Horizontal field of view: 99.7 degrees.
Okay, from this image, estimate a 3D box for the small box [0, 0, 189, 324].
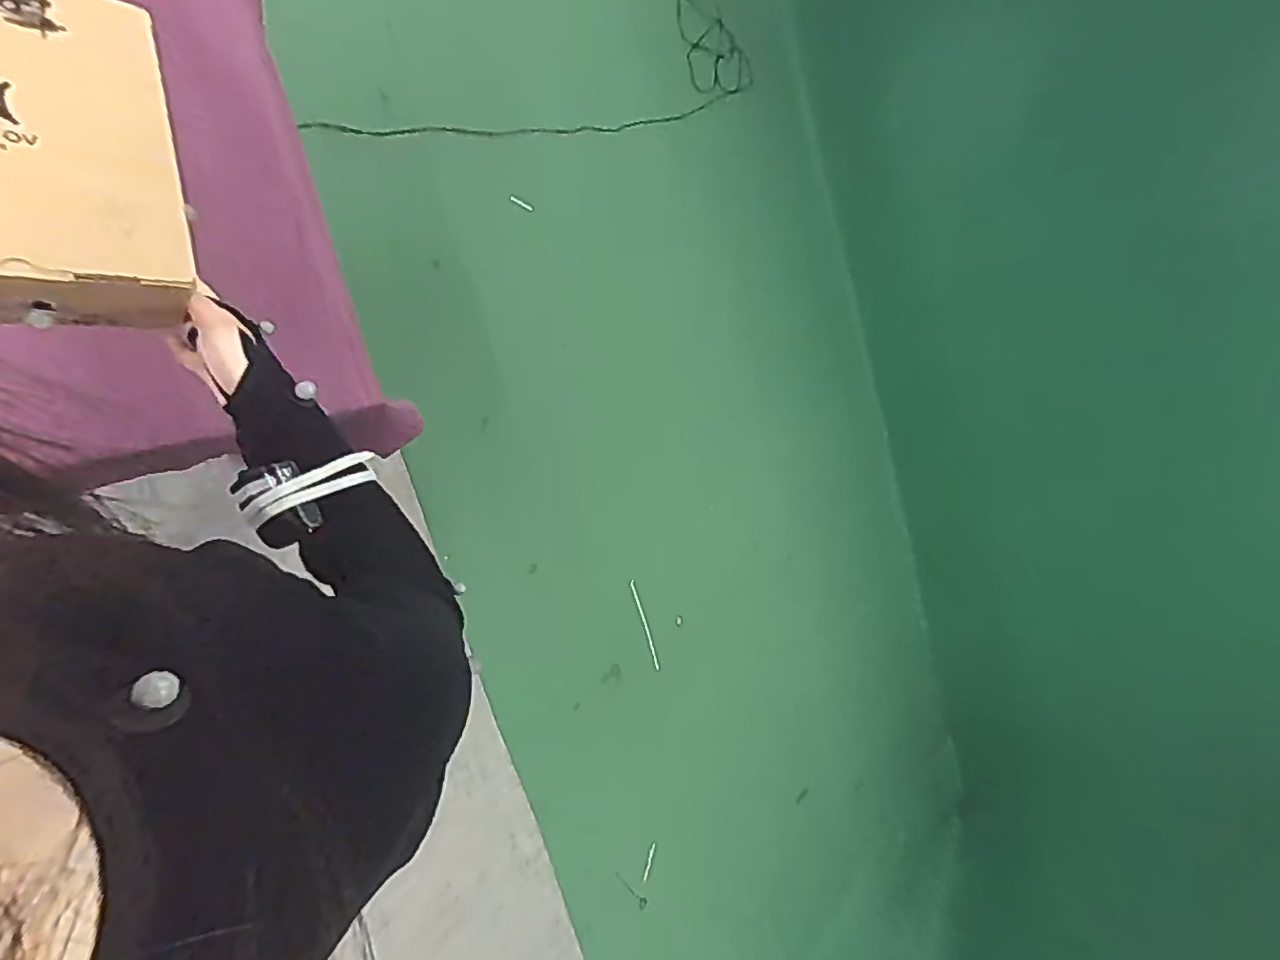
[{"bbox_3d":[-0.421,-0.207,0.360,0.168,0.176,0.179,-11,99,-42],"label":"small box"}]
